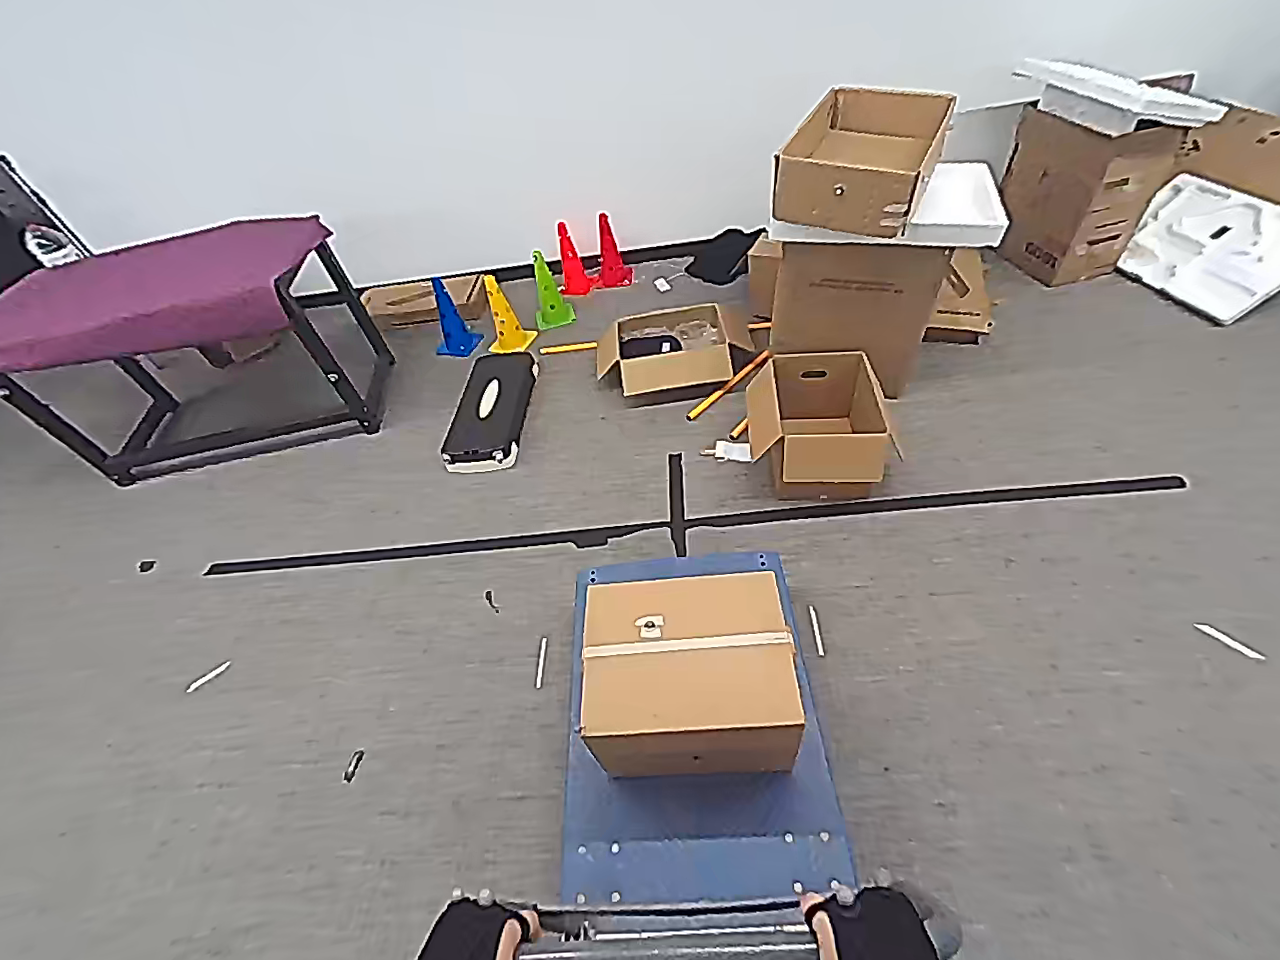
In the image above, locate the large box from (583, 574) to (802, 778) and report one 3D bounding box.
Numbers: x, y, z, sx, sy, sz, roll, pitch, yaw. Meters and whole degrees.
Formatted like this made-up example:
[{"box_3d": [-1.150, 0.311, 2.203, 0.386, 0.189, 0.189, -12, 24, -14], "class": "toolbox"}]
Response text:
[{"box_3d": [0.110, 0.436, 1.183, 0.408, 0.320, 0.320, -7, 47, 5], "class": "large box"}]
